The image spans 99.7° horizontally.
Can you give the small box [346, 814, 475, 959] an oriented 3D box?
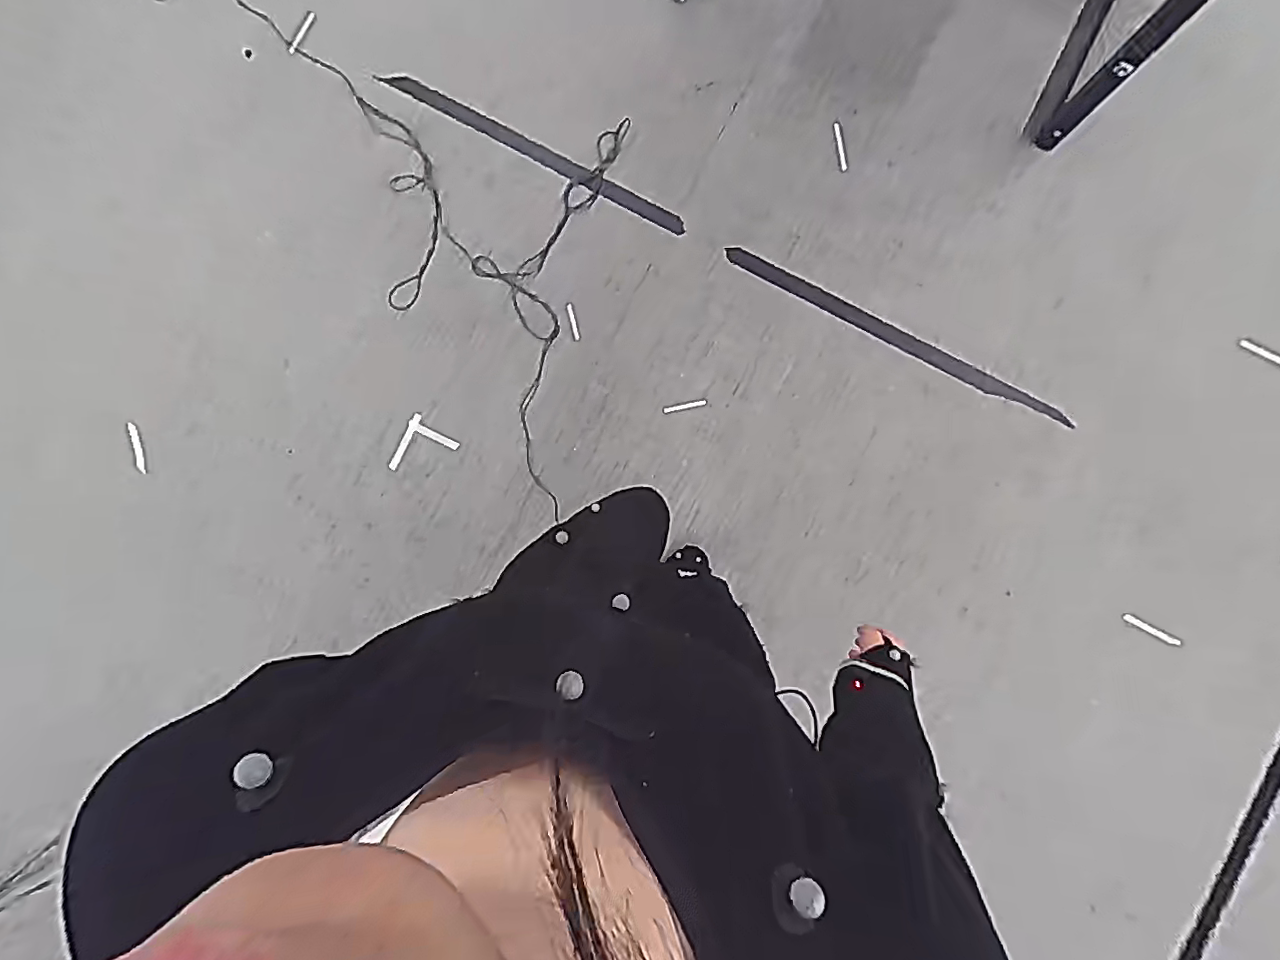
[{"bbox_3d":[-0.508,0.901,1.223,0.179,0.176,0.168,29,89,4],"label":"small box"}]
